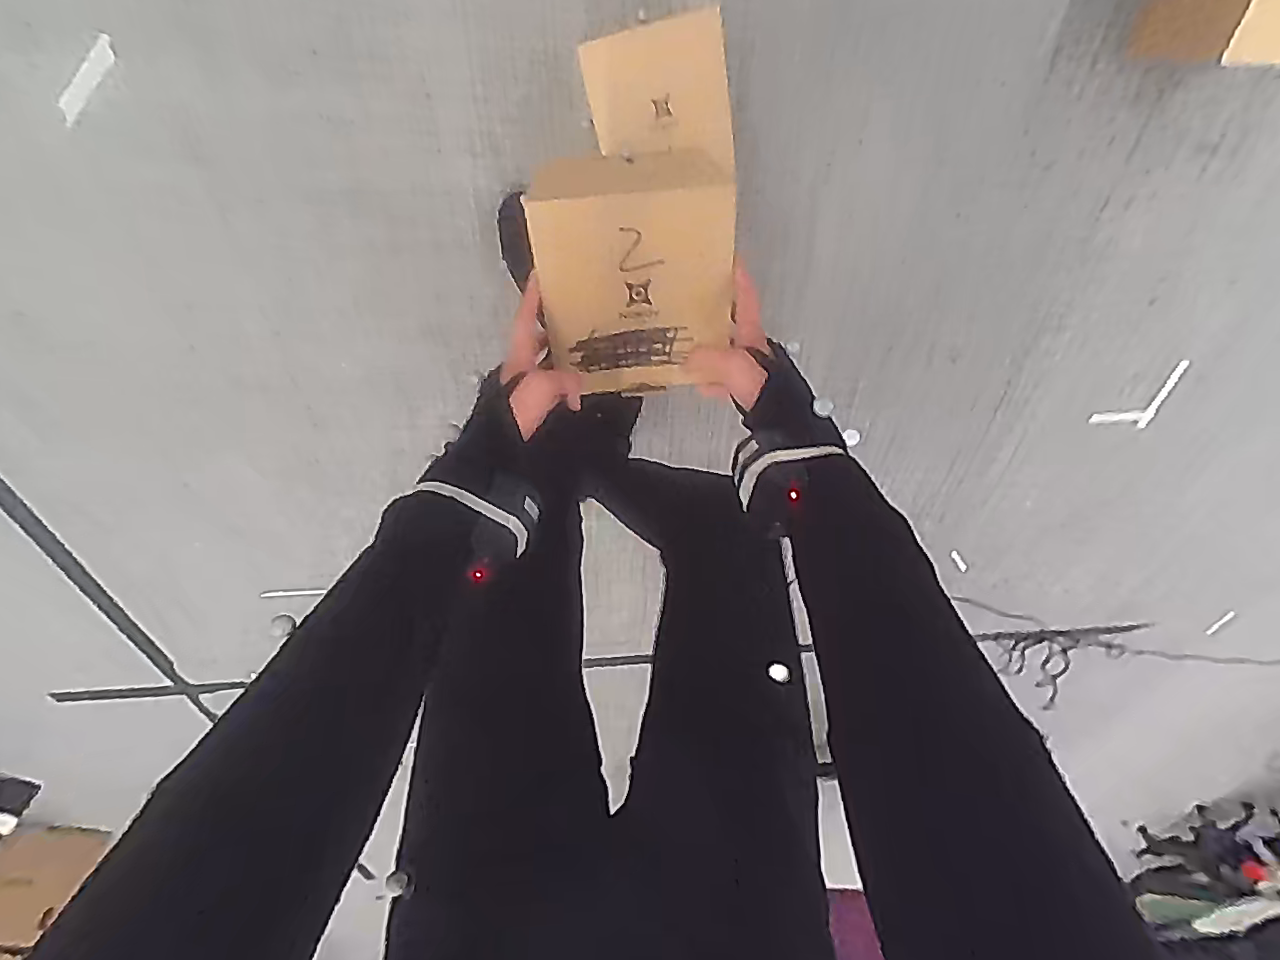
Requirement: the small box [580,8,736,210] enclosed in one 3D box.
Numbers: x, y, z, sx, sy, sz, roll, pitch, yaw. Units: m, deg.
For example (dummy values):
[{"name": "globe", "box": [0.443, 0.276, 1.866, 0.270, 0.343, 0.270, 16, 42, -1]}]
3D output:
[{"name": "small box", "box": [0.020, -0.486, 0.714, 0.168, 0.176, 0.179, -13, 130, 3]}]
